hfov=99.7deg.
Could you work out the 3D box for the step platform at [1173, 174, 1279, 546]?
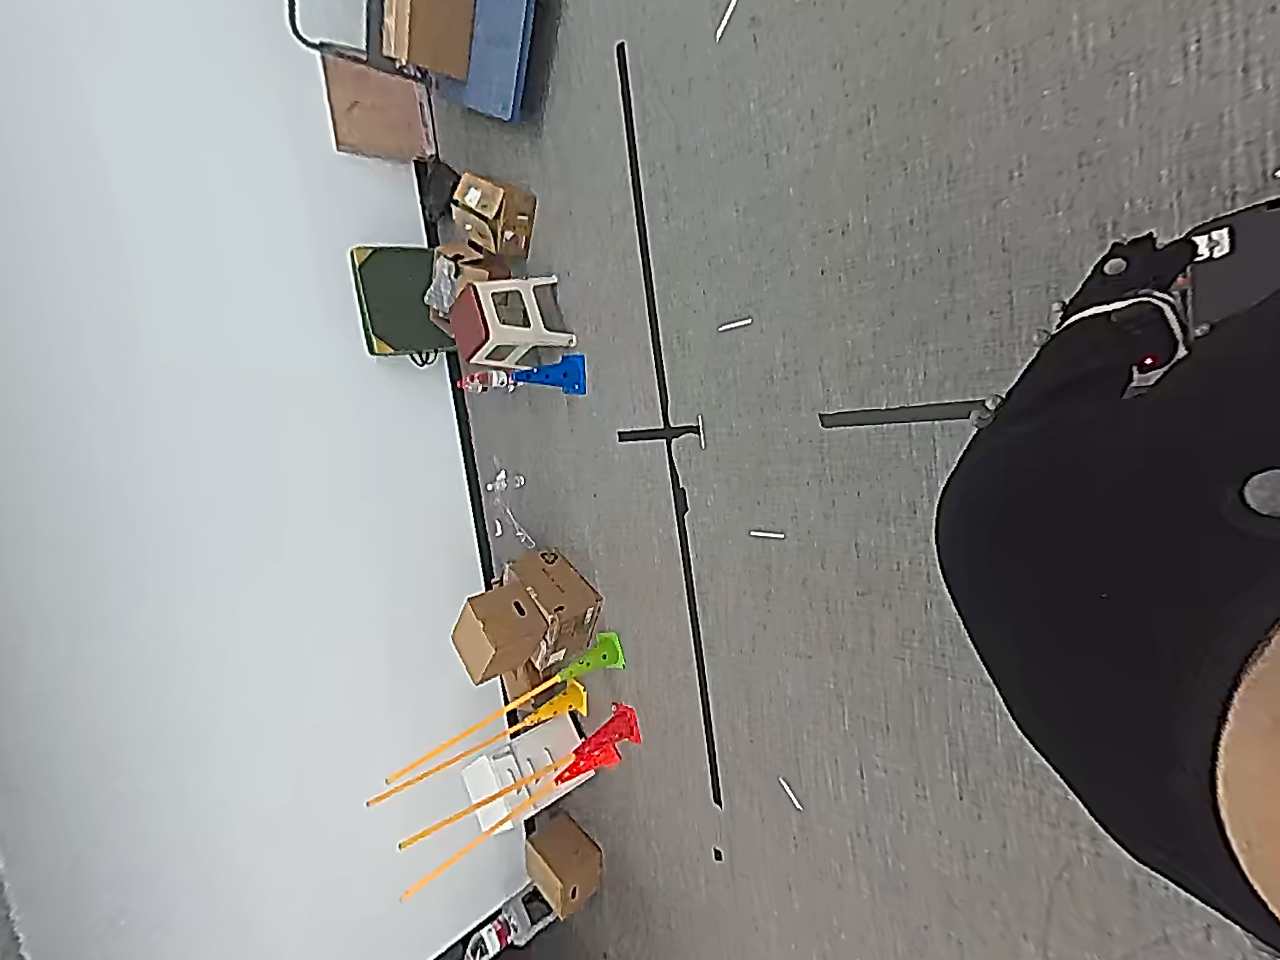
[{"bbox_3d":[1.218,-0.217,1.015,0.286,0.204,0.684,-3,96,48],"label":"step platform"}]
